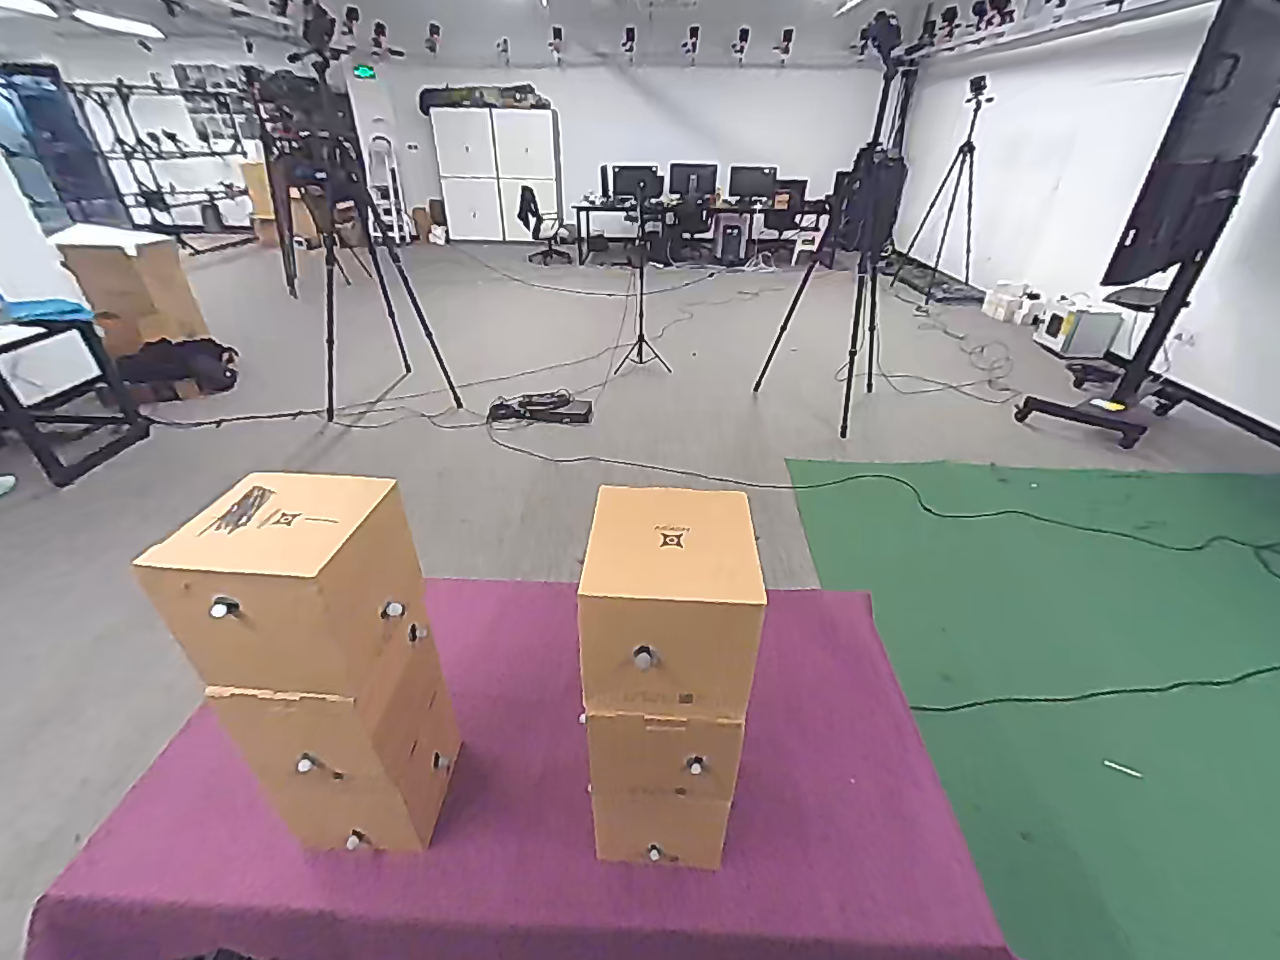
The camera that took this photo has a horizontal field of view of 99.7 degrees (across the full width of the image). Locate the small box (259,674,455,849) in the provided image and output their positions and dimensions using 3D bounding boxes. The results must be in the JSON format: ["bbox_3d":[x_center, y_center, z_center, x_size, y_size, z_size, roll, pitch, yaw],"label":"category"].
[{"bbox_3d":[-0.377,0.392,0.764,0.179,0.176,0.168,2,32,0],"label":"small box"}]

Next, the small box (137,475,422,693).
[{"bbox_3d":[-0.366,0.111,0.592,0.179,0.176,0.168,4,32,3],"label":"small box"}]

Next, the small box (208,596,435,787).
[{"bbox_3d":[-0.374,0.250,0.679,0.168,0.176,0.179,2,33,2],"label":"small box"}]

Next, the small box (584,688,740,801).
[{"bbox_3d":[0.027,0.266,0.667,0.168,0.176,0.179,2,32,2],"label":"small box"}]

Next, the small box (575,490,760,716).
[{"bbox_3d":[0.028,0.129,0.581,0.168,0.176,0.179,3,32,2],"label":"small box"}]
